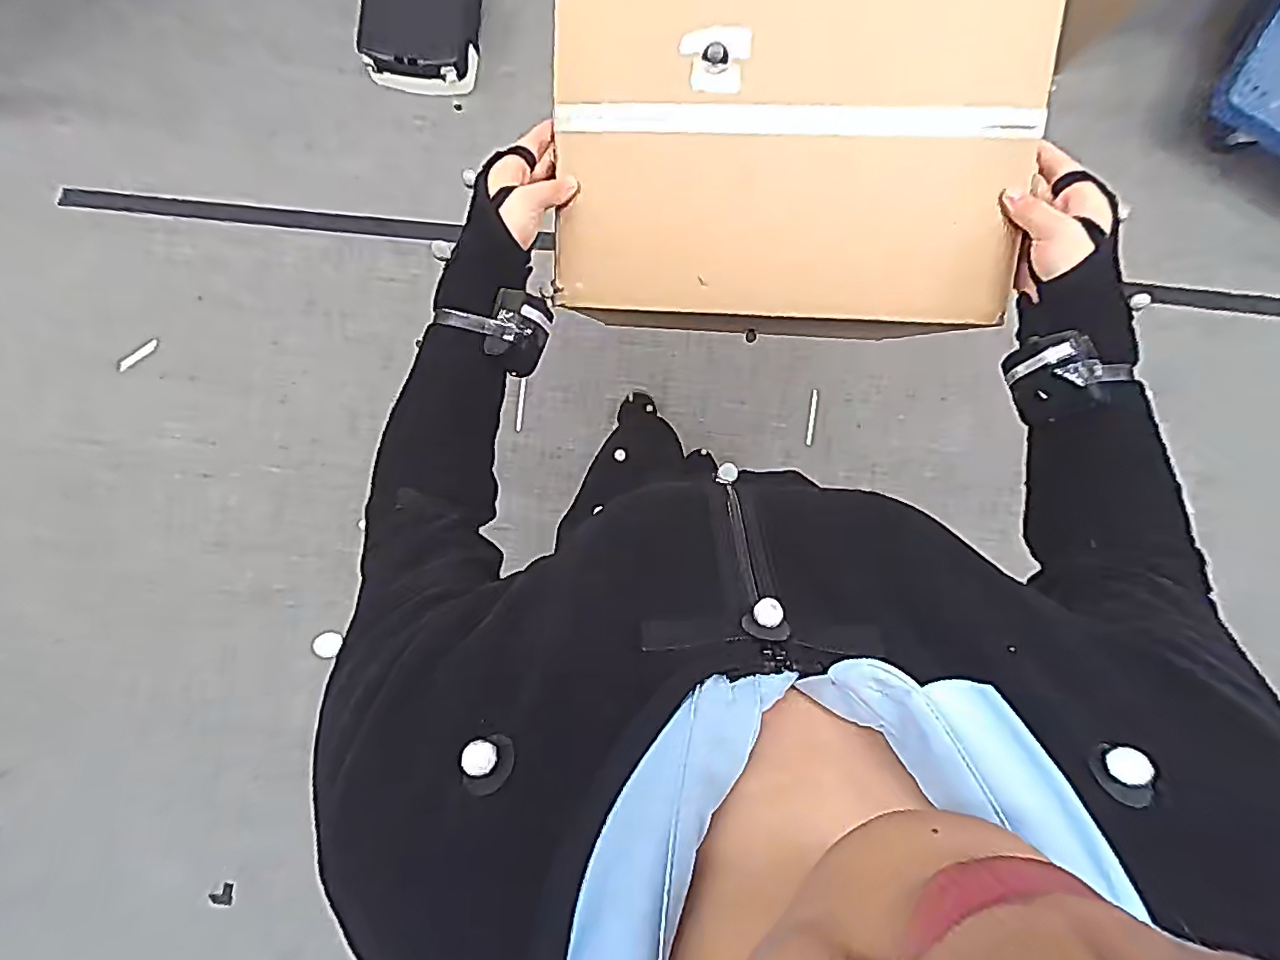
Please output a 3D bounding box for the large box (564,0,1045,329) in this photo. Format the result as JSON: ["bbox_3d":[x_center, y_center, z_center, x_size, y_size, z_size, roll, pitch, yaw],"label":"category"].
[{"bbox_3d":[0.144,-0.340,0.618,0.408,0.320,0.320,3,101,5],"label":"large box"}]
